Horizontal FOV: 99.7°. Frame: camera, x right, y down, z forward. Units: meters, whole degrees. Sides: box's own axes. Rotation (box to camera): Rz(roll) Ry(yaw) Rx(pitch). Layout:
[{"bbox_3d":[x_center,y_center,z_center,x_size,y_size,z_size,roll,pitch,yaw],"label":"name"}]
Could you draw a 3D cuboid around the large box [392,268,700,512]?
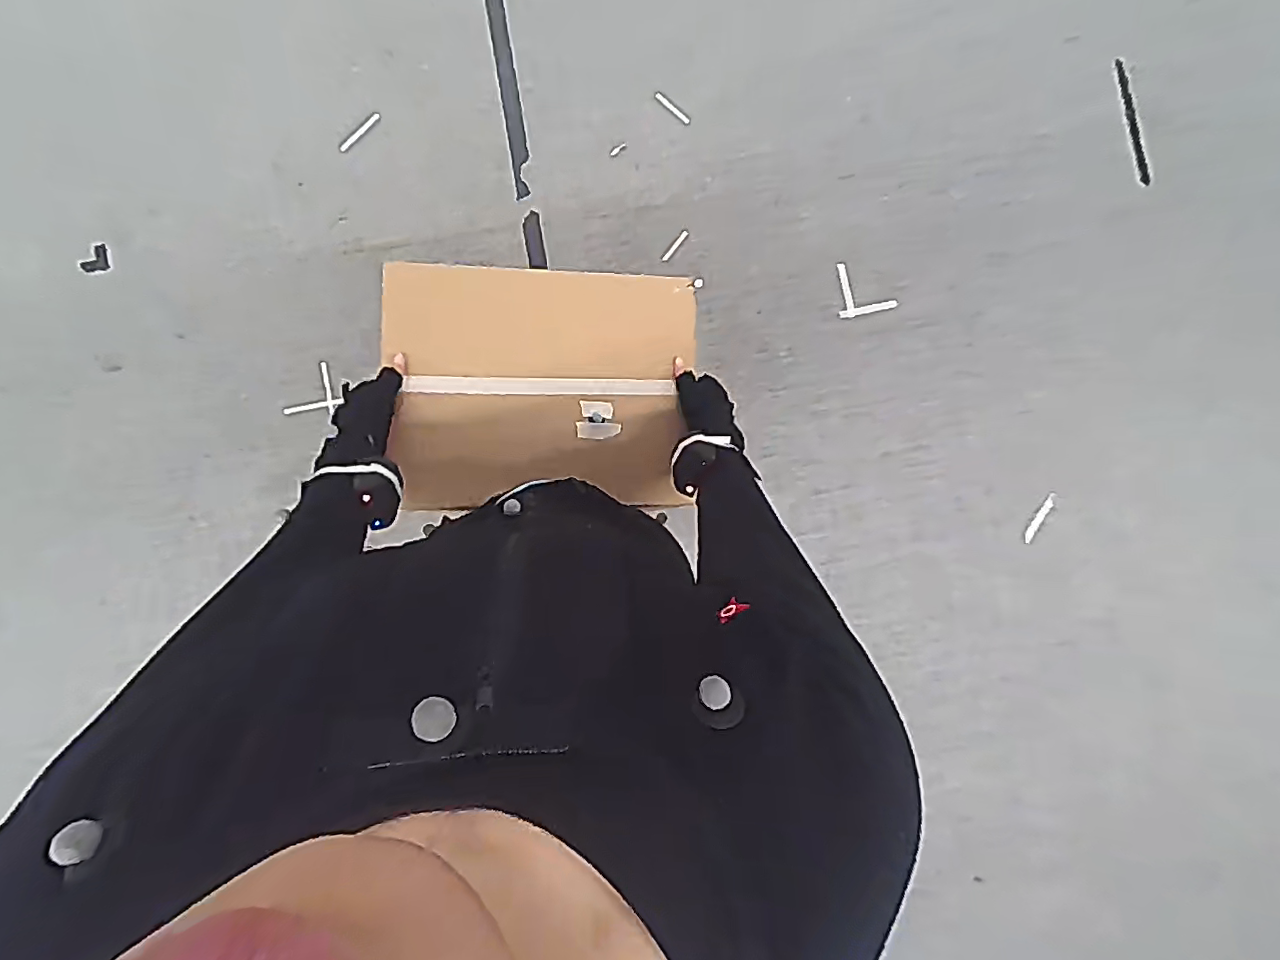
[{"bbox_3d":[-0.145,-0.111,0.859,0.408,0.320,0.320,0,86,-10],"label":"large box"}]
